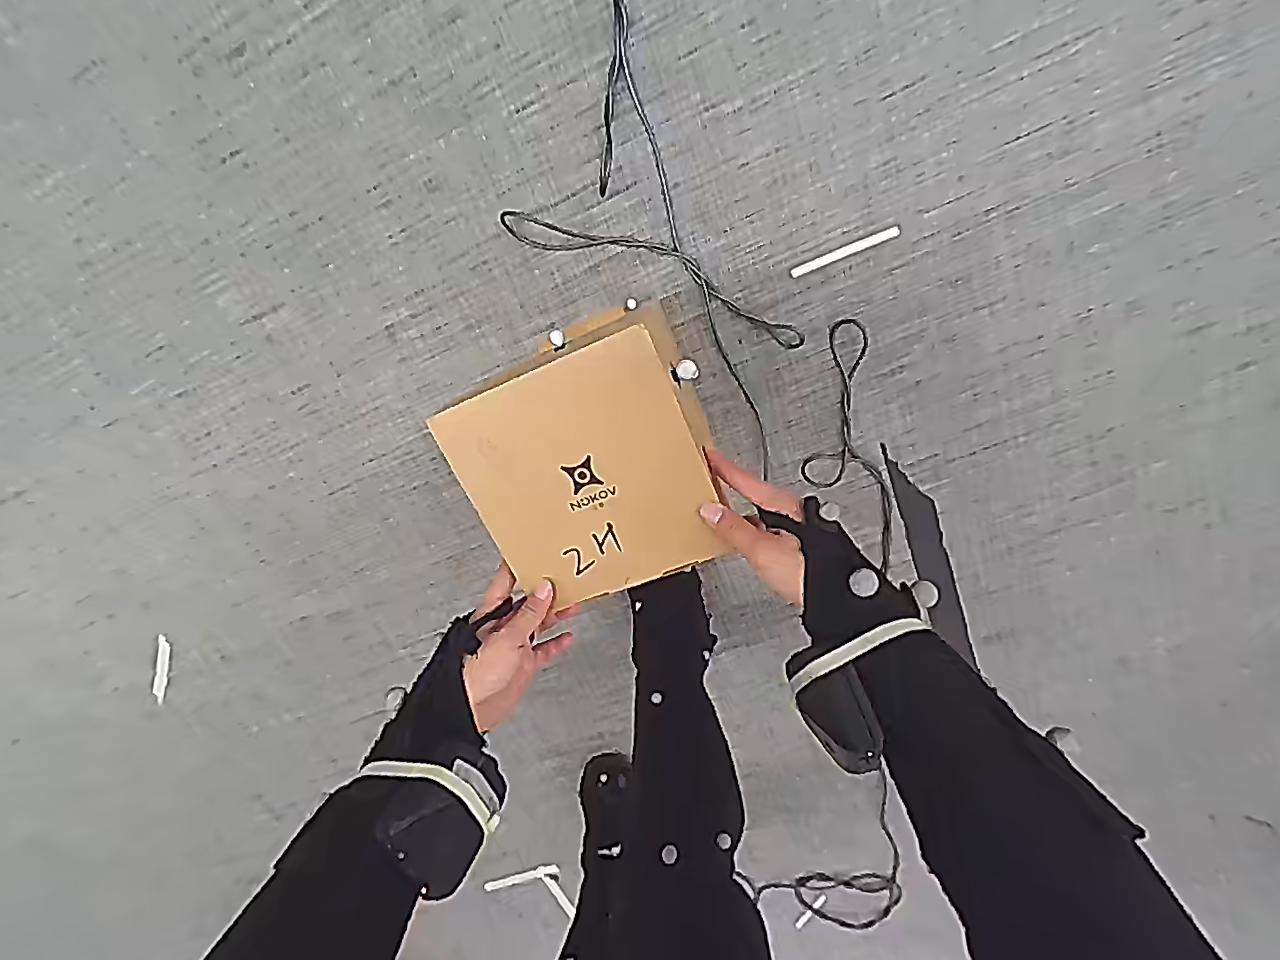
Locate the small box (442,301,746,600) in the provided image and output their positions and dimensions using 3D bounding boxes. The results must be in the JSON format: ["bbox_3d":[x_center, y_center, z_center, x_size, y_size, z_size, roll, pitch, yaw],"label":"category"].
[{"bbox_3d":[-0.026,-0.037,0.453,0.168,0.176,0.179,-21,109,11],"label":"small box"}]
